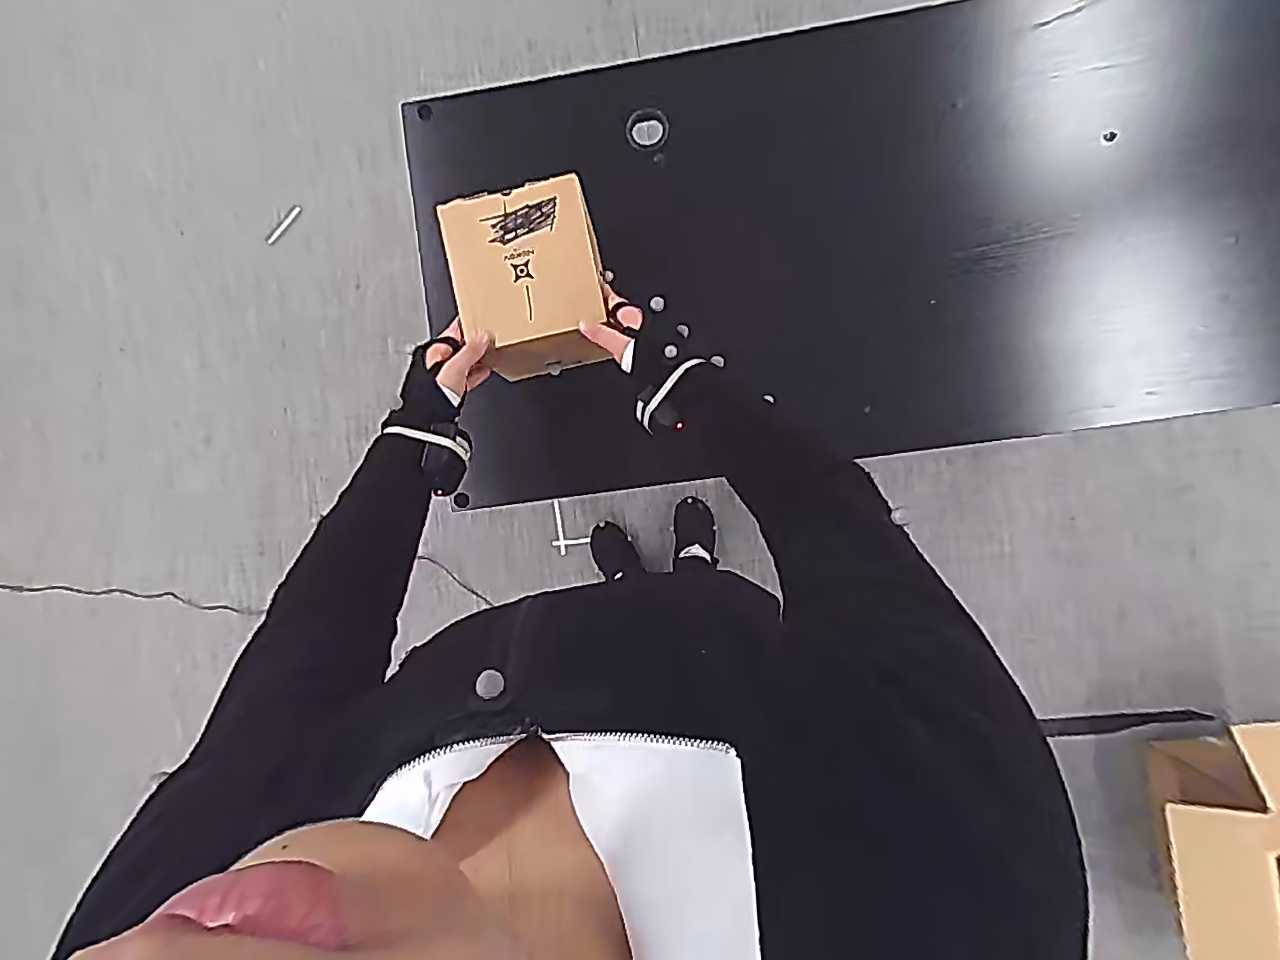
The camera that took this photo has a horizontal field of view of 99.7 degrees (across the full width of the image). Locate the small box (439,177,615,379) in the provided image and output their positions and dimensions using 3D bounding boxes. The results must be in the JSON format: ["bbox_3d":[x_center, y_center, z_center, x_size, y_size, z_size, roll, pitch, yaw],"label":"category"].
[{"bbox_3d":[-0.133,-0.245,0.696,0.168,0.176,0.179,-13,90,2],"label":"small box"}]
